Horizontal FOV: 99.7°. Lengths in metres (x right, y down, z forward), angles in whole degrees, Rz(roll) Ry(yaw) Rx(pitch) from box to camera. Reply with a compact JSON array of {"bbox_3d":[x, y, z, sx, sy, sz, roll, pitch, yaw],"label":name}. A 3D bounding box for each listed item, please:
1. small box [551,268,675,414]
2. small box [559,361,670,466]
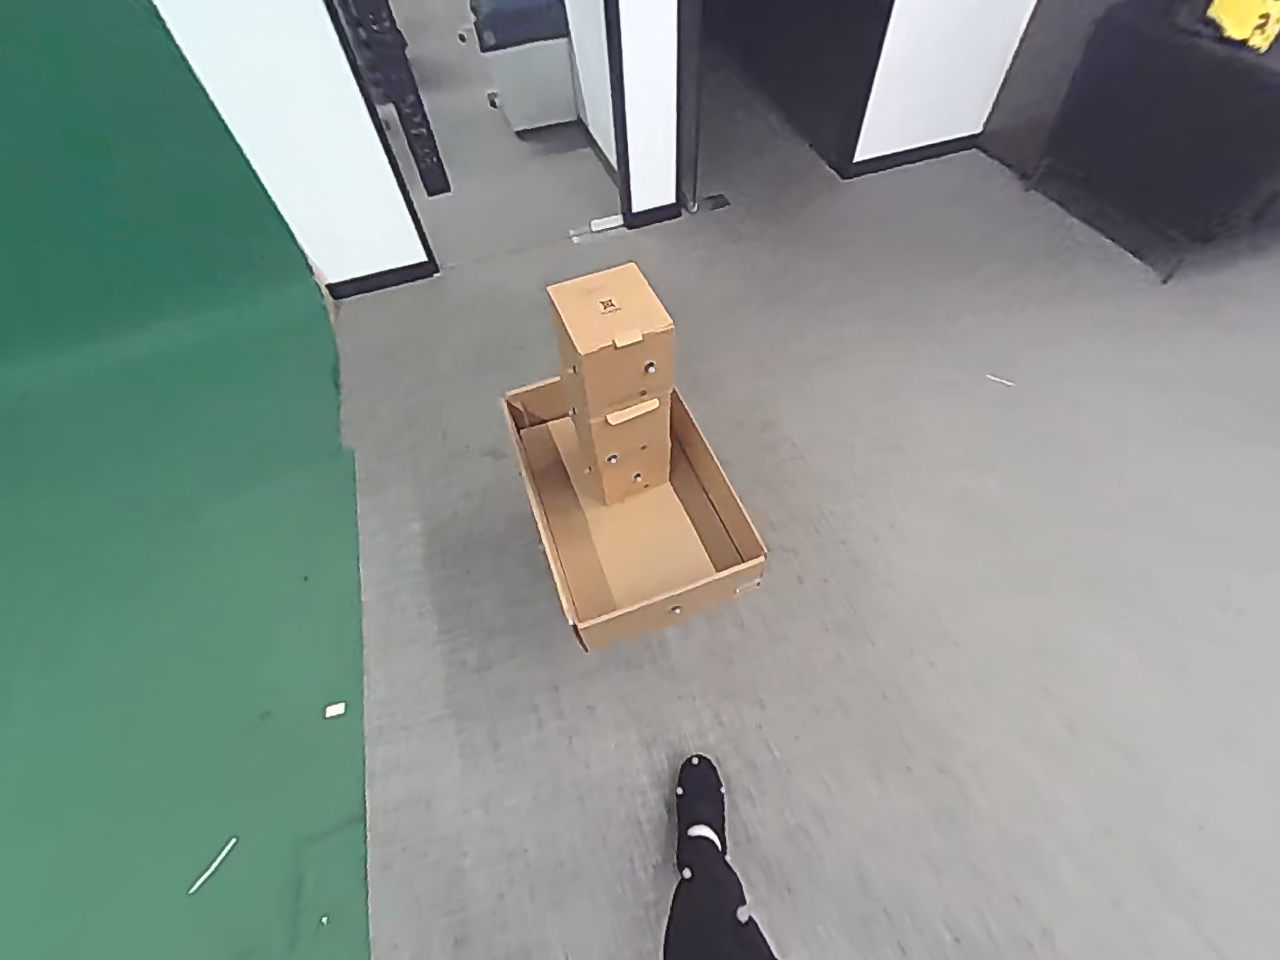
[{"bbox_3d":[-0.045,-0.239,0.964,0.168,0.176,0.179,-19,59,-11],"label":"small box"},{"bbox_3d":[-0.048,-0.150,1.101,0.168,0.176,0.179,-22,59,-12],"label":"small box"}]
